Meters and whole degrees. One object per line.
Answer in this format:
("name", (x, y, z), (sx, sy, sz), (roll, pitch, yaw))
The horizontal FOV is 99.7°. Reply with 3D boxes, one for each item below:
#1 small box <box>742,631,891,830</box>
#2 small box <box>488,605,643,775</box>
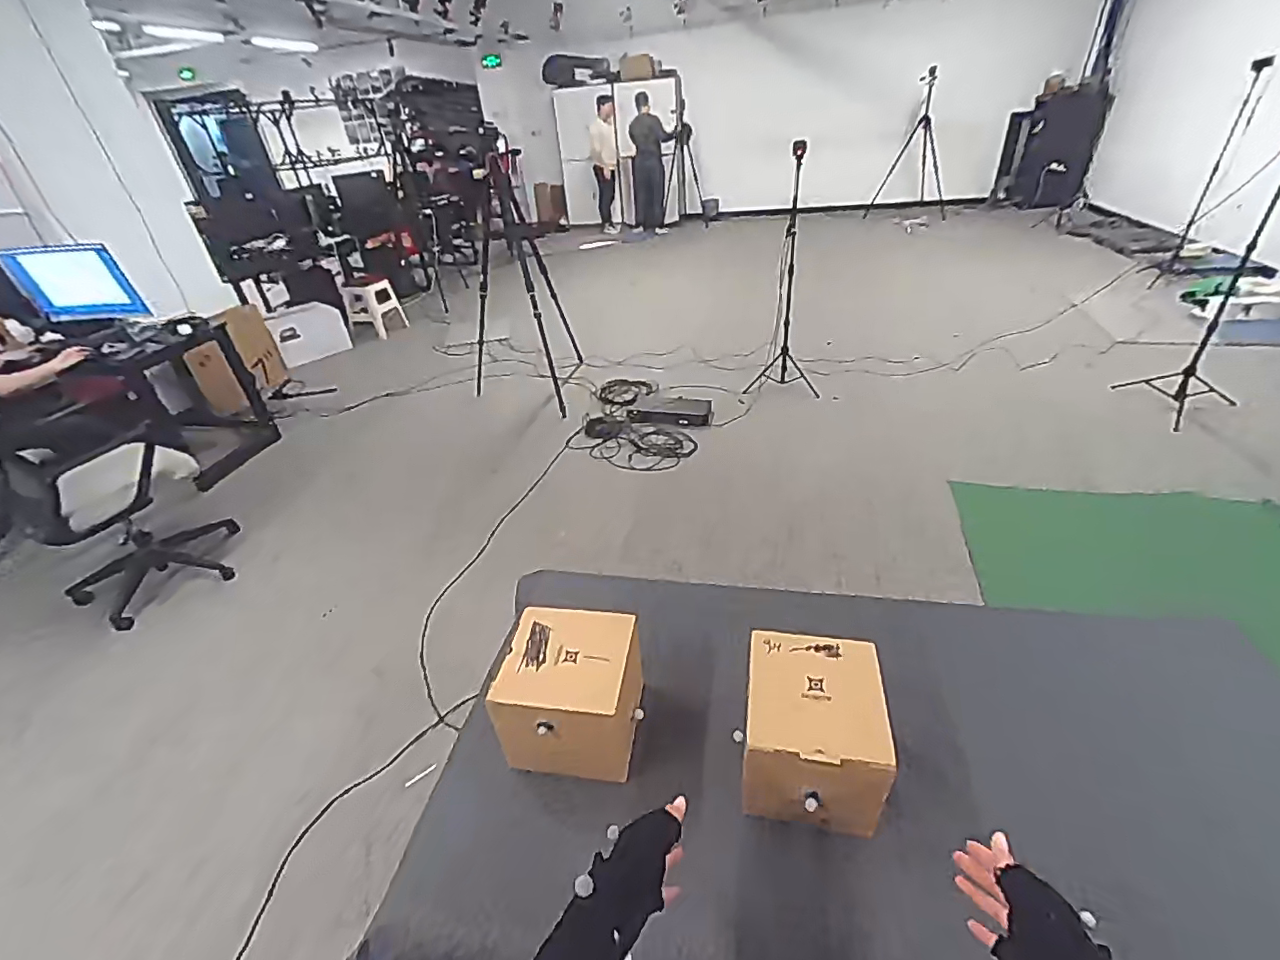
("small box", (0.225, 0.333, 0.725), (0.168, 0.176, 0.179), (4, 36, 12))
("small box", (-0.097, 0.308, 0.799), (0.179, 0.176, 0.168), (3, 35, 10))
